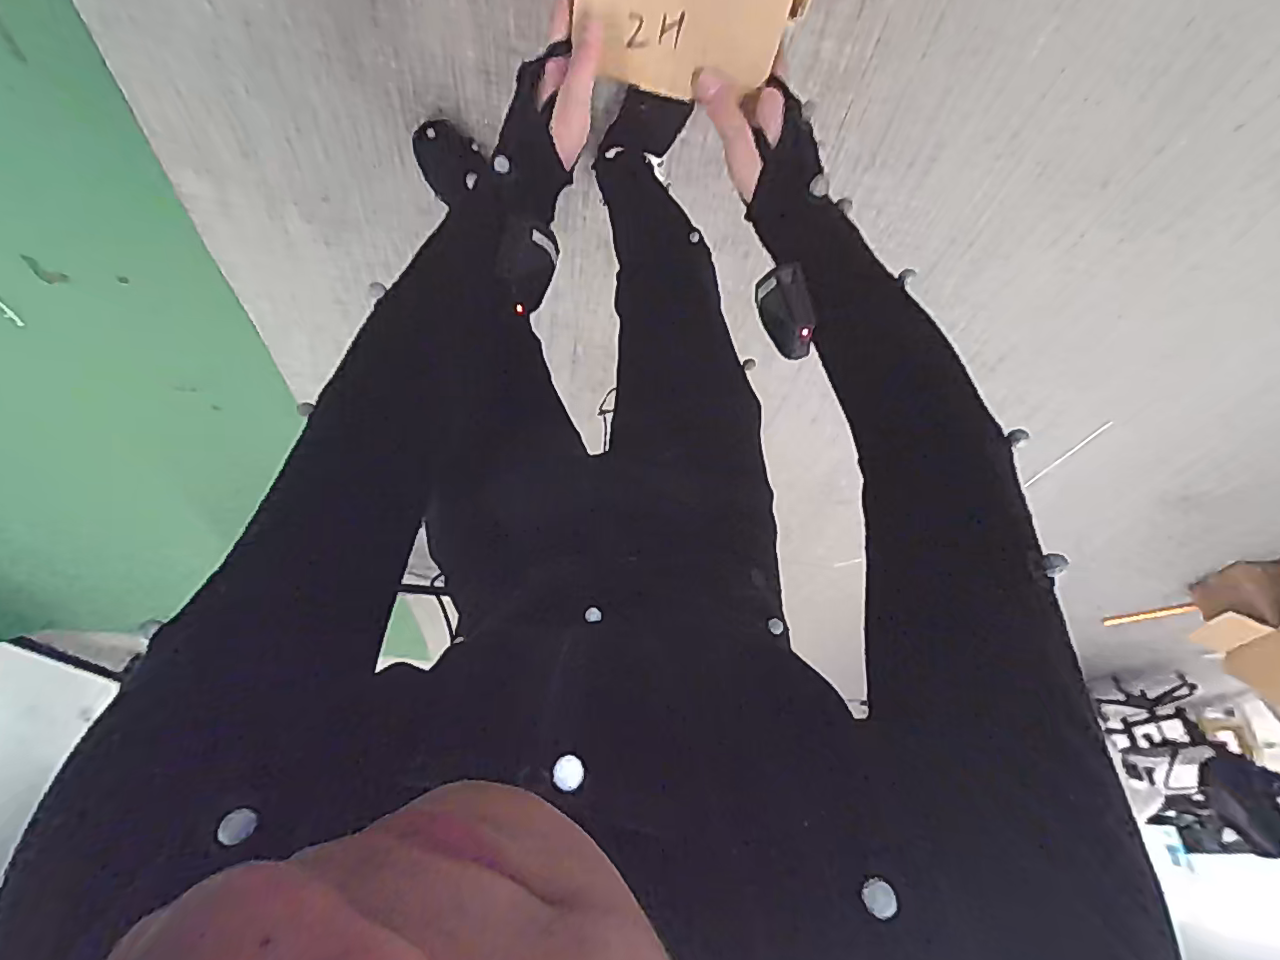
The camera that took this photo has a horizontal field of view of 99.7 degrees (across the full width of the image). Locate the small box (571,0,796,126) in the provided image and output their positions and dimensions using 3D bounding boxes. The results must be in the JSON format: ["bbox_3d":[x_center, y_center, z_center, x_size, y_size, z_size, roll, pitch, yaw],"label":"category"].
[{"bbox_3d":[0.042,-0.438,0.449,0.168,0.176,0.179,10,141,-7],"label":"small box"}]
